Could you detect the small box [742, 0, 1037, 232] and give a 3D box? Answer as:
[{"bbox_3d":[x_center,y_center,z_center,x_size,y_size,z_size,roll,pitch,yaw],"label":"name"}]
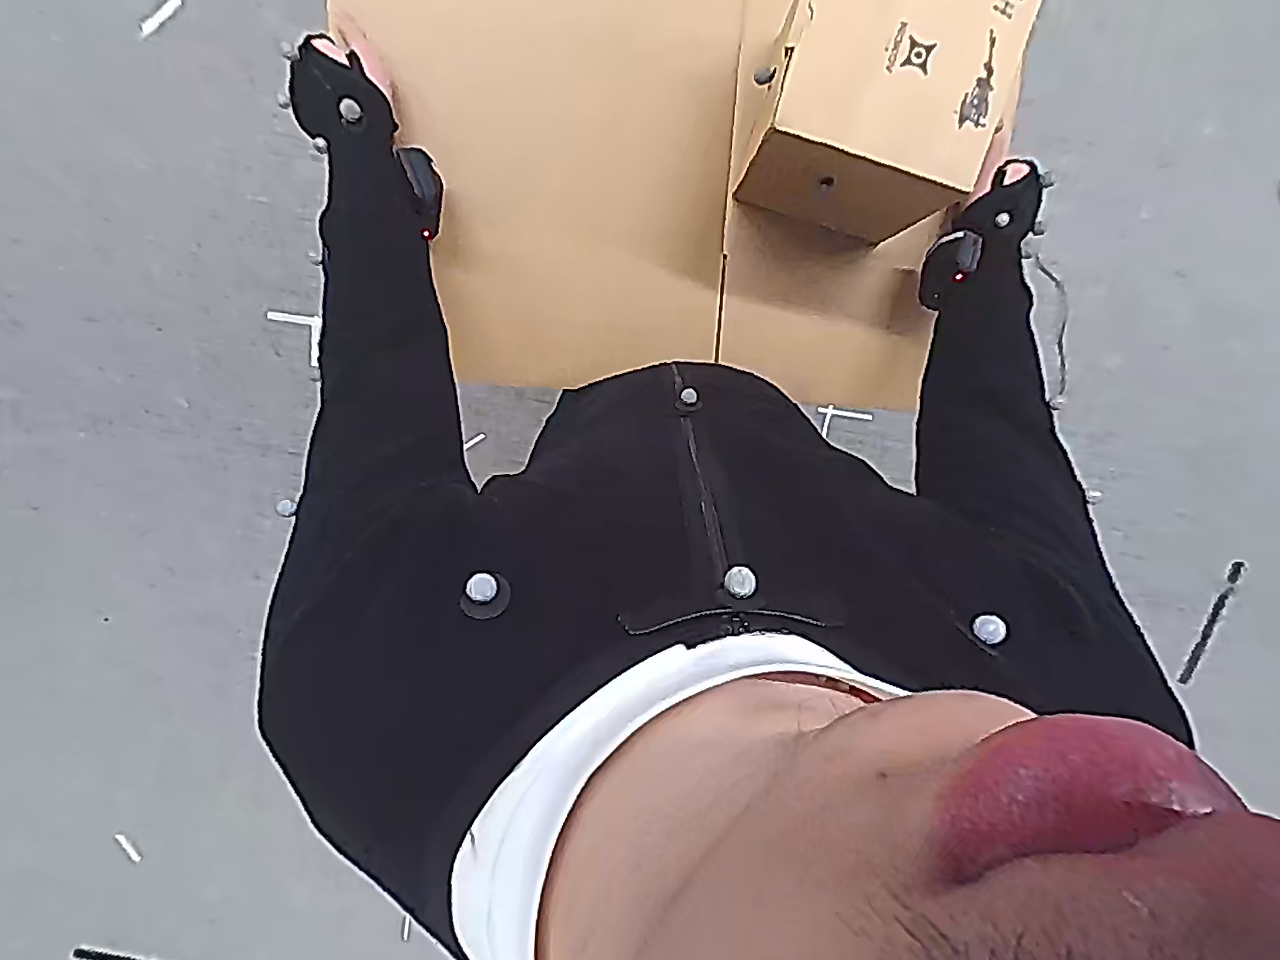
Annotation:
[{"bbox_3d":[0.209,-0.354,0.504,0.179,0.176,0.168,16,100,-3],"label":"small box"}]
